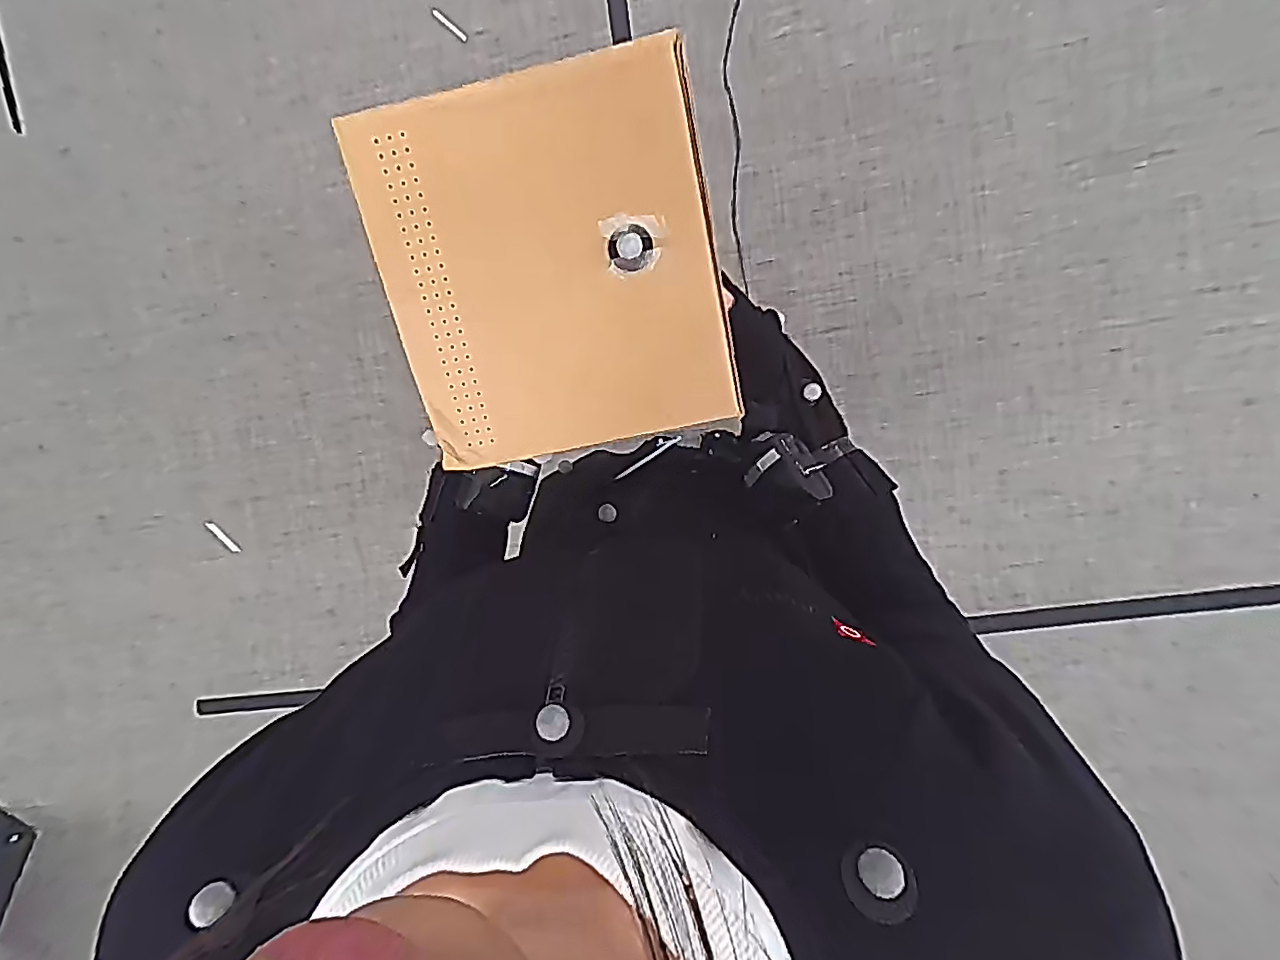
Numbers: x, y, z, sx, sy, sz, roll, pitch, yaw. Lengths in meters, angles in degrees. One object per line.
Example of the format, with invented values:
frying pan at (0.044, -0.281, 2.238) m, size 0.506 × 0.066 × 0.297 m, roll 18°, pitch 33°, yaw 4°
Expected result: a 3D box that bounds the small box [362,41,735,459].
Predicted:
small box at (-0.045, -0.128, 0.353) m, size 0.176 × 0.168 × 0.179 m, roll -11°, pitch 106°, yaw 6°
